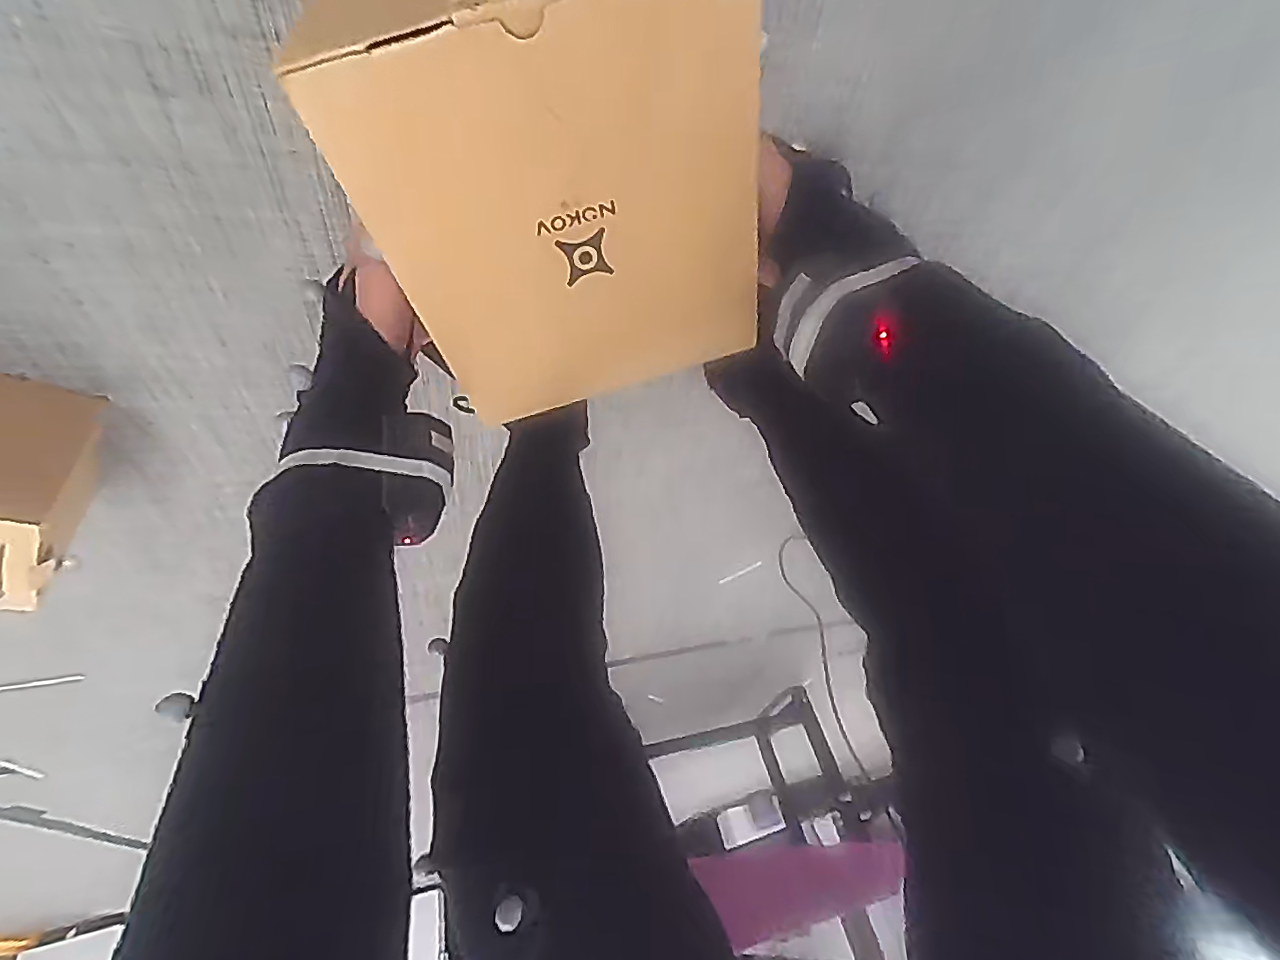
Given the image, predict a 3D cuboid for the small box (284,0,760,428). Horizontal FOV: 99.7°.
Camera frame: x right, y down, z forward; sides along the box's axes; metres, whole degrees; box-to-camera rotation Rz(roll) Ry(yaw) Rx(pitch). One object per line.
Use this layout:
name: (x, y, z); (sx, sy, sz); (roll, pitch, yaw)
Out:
small box: (-0.044, -0.162, 0.292); (0.168, 0.176, 0.179); (-17, 141, -1)
